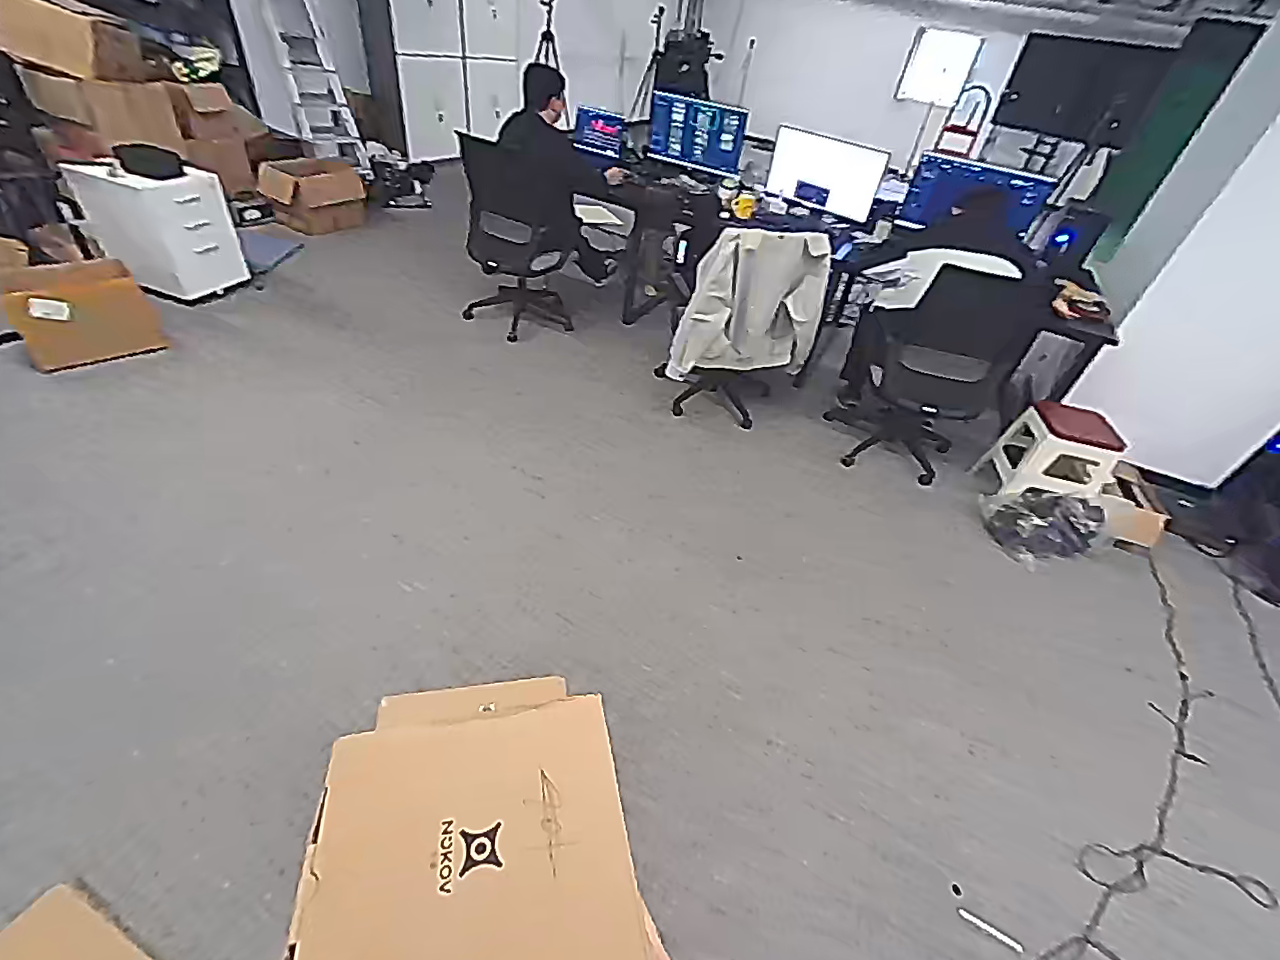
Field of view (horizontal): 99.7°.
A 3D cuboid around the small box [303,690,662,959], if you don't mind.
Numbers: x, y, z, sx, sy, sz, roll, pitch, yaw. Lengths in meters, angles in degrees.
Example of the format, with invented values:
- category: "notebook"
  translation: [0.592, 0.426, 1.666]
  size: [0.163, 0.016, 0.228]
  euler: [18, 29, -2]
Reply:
- category: "small box"
  translation: [-0.095, 0.270, 0.355]
  size: [0.179, 0.176, 0.168]
  euler: [-4, 40, -14]
